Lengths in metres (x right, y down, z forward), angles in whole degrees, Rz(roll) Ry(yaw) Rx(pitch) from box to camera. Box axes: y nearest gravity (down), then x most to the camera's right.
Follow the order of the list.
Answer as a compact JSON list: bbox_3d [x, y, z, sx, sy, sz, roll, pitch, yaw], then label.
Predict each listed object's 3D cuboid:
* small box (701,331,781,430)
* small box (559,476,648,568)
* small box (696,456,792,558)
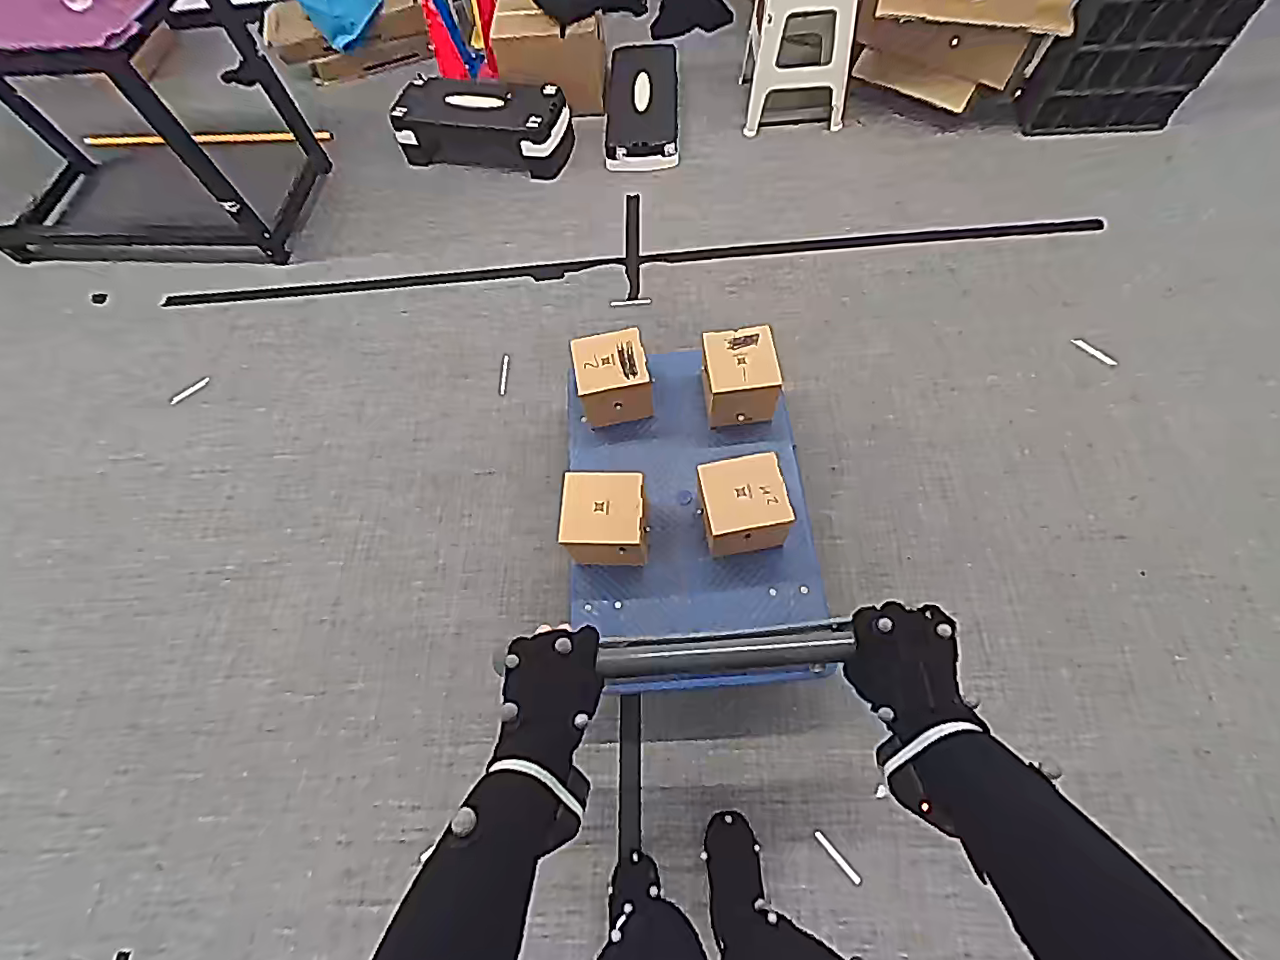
[{"bbox_3d":[0.246,-0.247,1.363,0.168,0.176,0.179,-7,66,2],"label":"small box"},{"bbox_3d":[-0.077,0.100,1.239,0.179,0.176,0.168,0,66,4],"label":"small box"},{"bbox_3d":[0.228,0.068,1.223,0.179,0.176,0.168,-10,65,1],"label":"small box"}]
